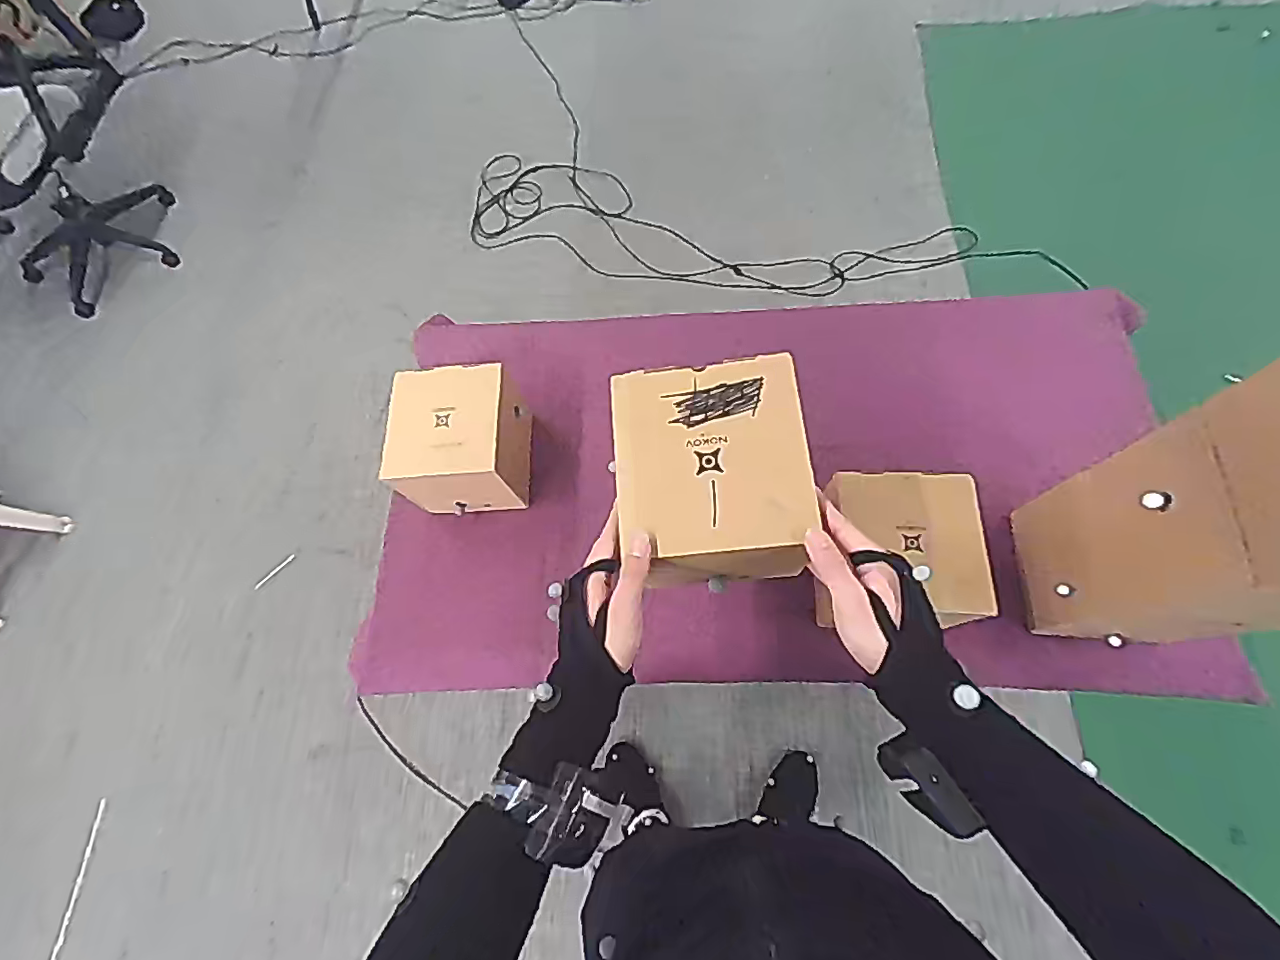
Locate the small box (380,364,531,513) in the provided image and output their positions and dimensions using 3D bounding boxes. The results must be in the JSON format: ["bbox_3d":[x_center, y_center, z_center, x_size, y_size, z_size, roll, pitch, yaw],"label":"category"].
[{"bbox_3d":[-0.273,-0.059,0.844,0.168,0.176,0.179,-3,69,5],"label":"small box"}]

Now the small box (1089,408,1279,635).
[{"bbox_3d":[0.596,0.048,0.536,0.168,0.176,0.179,3,68,8],"label":"small box"}]

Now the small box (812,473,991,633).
[{"bbox_3d":[0.329,0.104,0.721,0.168,0.176,0.179,1,67,6],"label":"small box"}]

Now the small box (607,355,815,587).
[{"bbox_3d":[0.065,0.003,0.536,0.168,0.176,0.179,-7,71,7],"label":"small box"}]
